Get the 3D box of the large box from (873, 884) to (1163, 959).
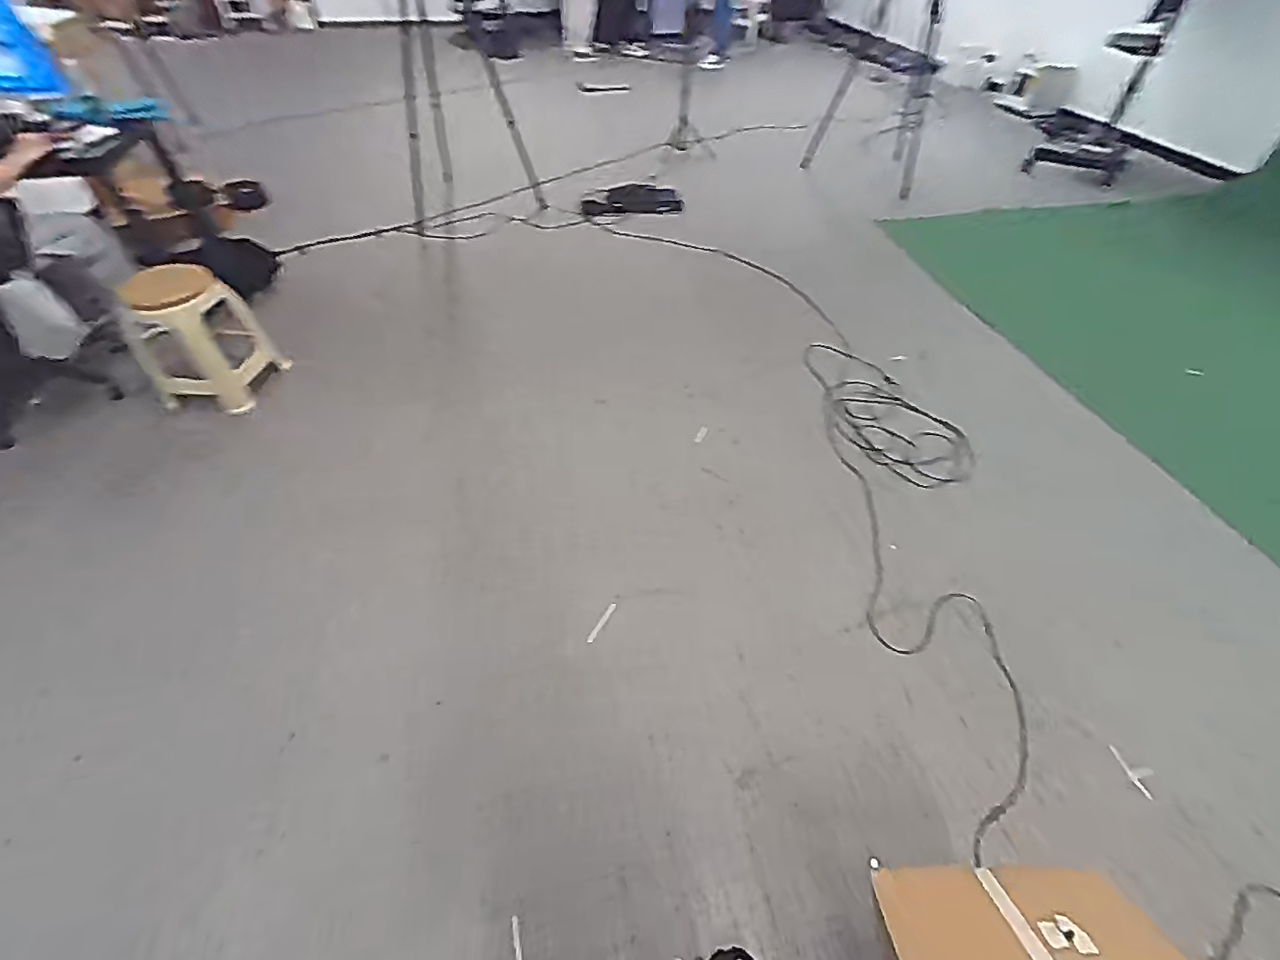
[{"bbox_3d":[0.477,0.731,0.582,0.320,0.408,0.320,-5,84,11],"label":"large box"}]
